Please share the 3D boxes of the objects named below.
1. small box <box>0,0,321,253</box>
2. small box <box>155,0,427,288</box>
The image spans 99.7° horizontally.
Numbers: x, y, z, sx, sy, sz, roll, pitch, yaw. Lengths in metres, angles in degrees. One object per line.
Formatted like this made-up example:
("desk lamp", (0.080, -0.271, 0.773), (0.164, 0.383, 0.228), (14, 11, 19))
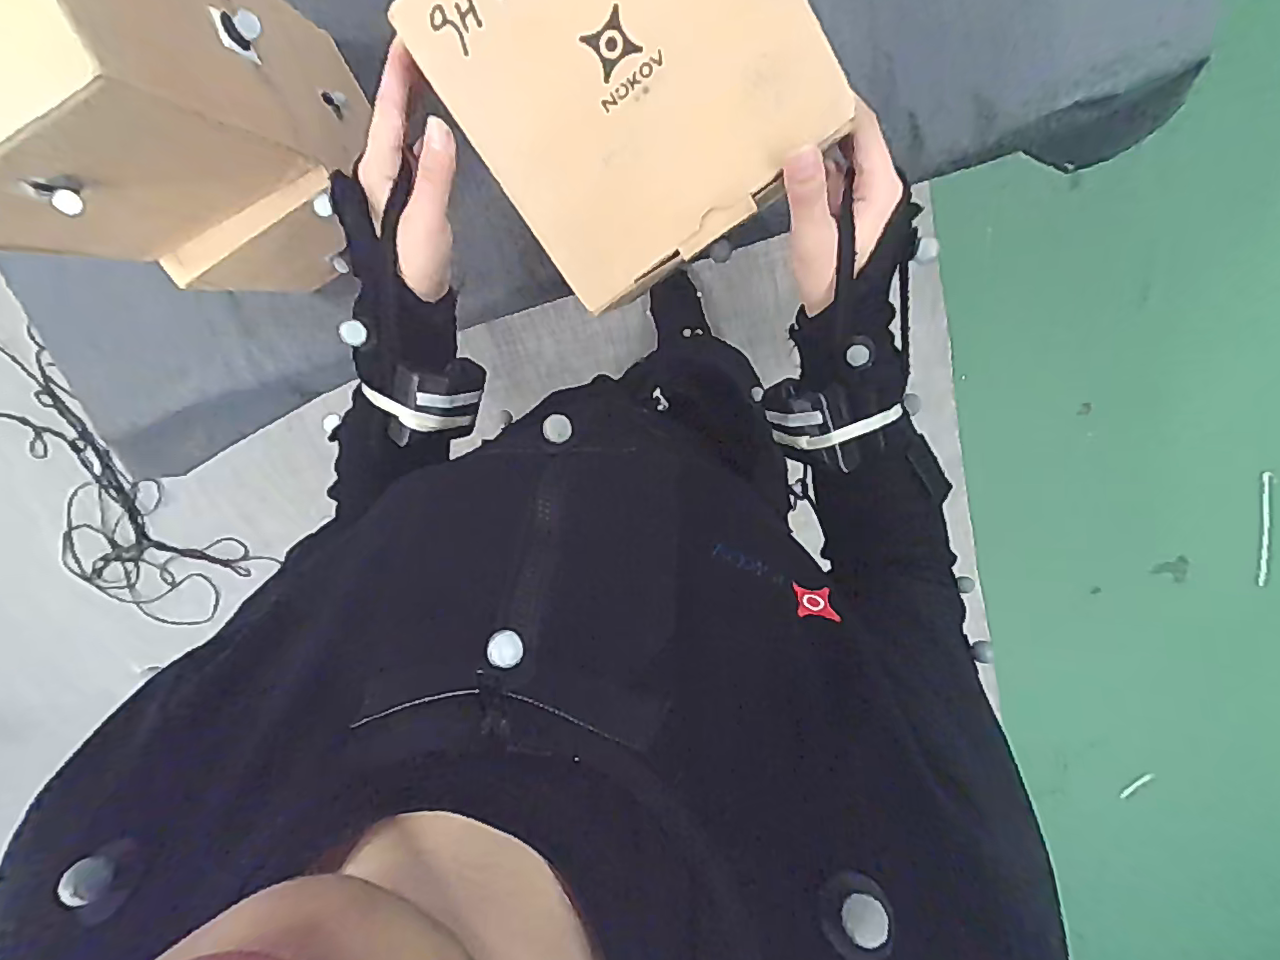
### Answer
("small box", (-0.339, -0.248, 0.313), (0.179, 0.176, 0.168), (-22, 107, 10))
("small box", (-0.327, -0.284, 0.472), (0.168, 0.176, 0.179), (-25, 105, 12))
